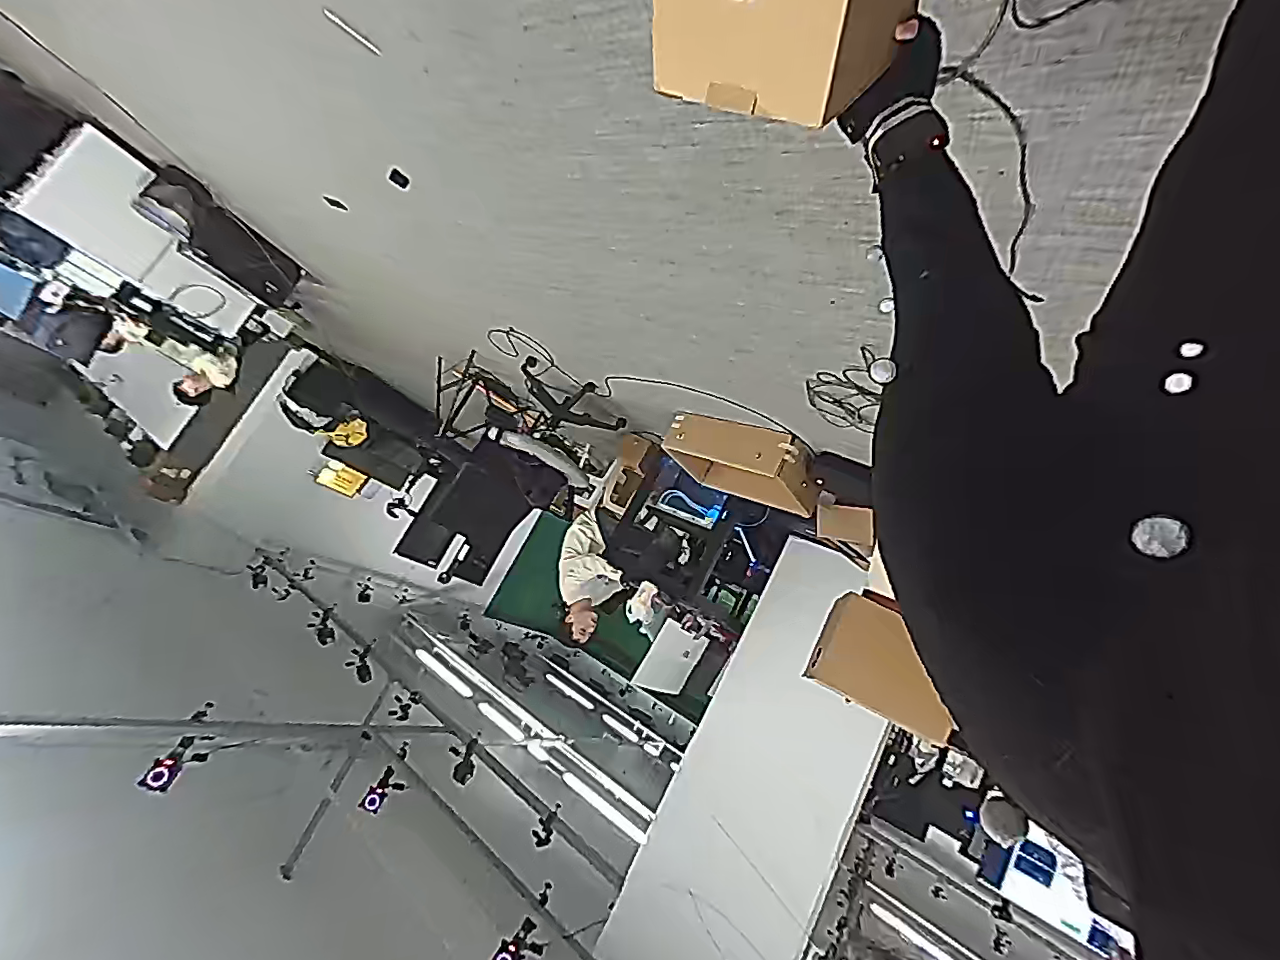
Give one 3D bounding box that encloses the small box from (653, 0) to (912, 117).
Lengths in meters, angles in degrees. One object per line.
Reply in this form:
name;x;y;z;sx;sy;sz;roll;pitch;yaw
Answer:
small box;0.120;-0.424;0.424;0.168;0.179;0.176;29;152;21
